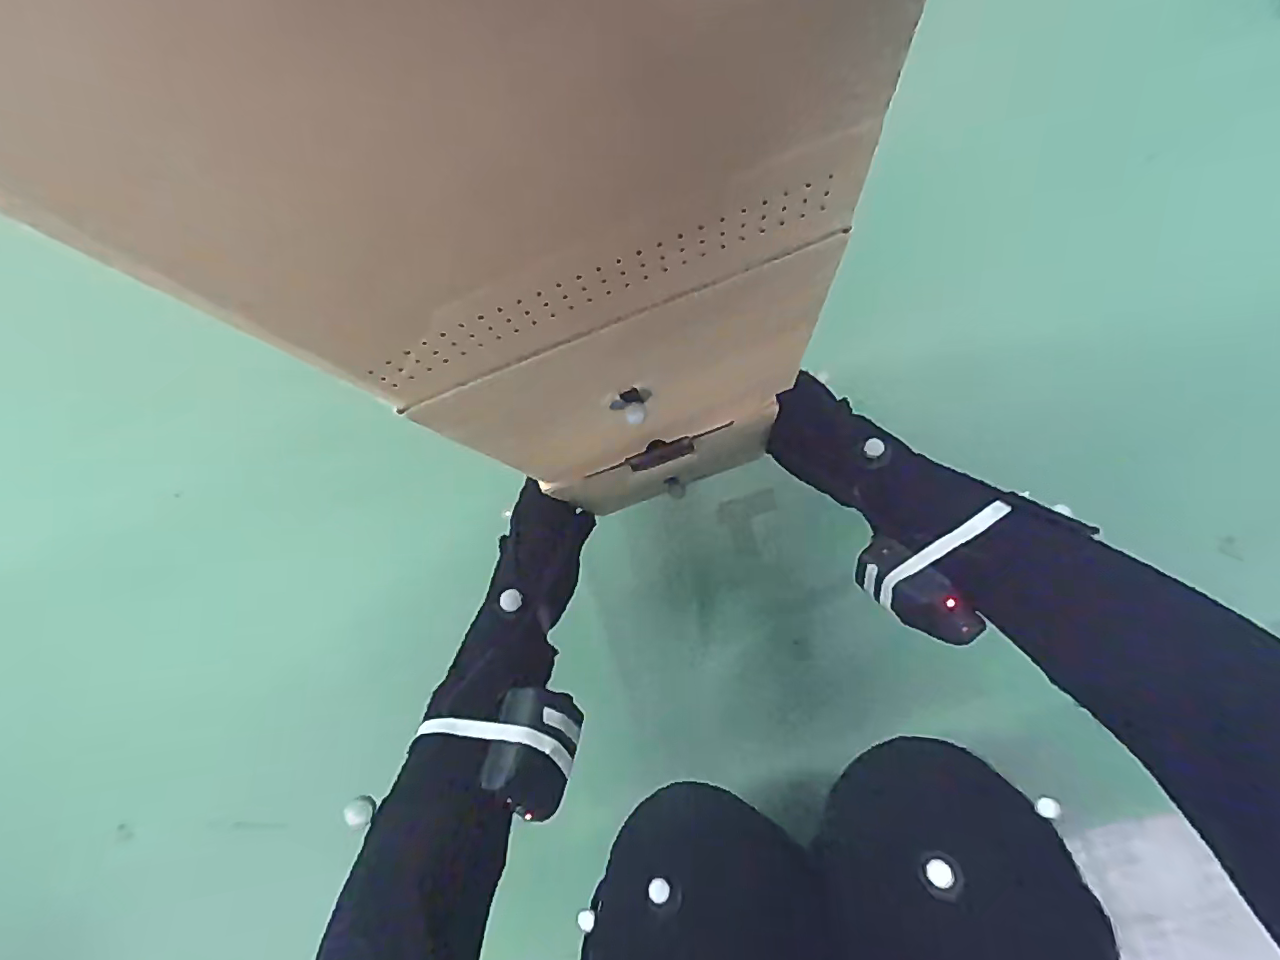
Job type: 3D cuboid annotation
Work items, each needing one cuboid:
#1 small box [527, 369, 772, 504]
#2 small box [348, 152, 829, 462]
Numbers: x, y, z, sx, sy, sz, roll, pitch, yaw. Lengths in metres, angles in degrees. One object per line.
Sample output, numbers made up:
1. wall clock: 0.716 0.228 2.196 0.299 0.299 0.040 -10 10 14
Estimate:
1. small box: -0.007 -0.093 0.437 0.168 0.176 0.179 -21 79 7
2. small box: -0.030 -0.122 0.275 0.179 0.176 0.168 -18 77 6
